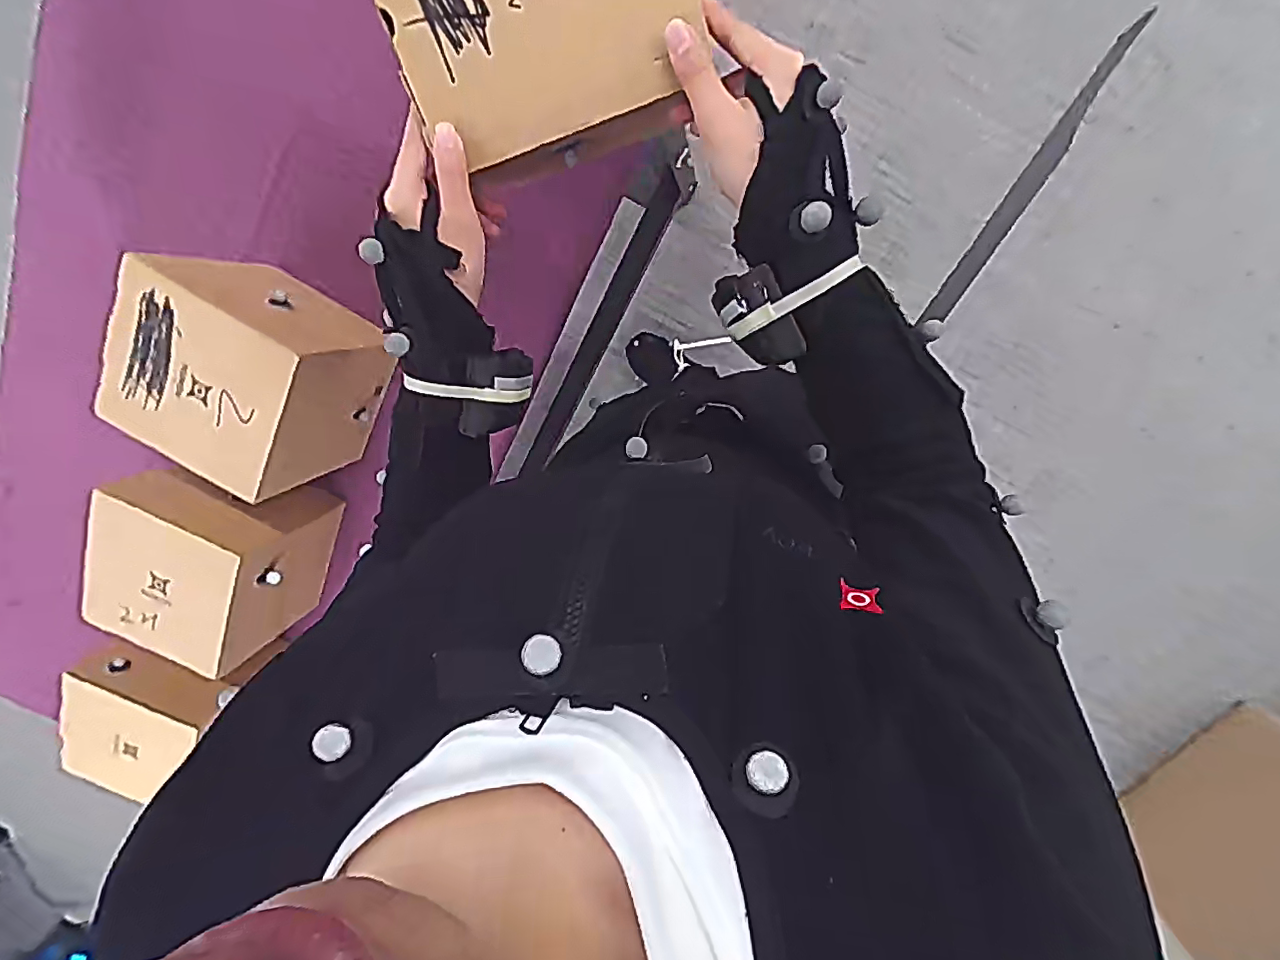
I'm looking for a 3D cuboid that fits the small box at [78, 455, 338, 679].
[{"bbox_3d":[-0.498,0.090,0.645,0.168,0.176,0.179,25,109,0],"label":"small box"}]

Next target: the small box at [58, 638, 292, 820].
[{"bbox_3d":[-0.613,0.303,0.730,0.179,0.176,0.168,22,109,1],"label":"small box"}]
